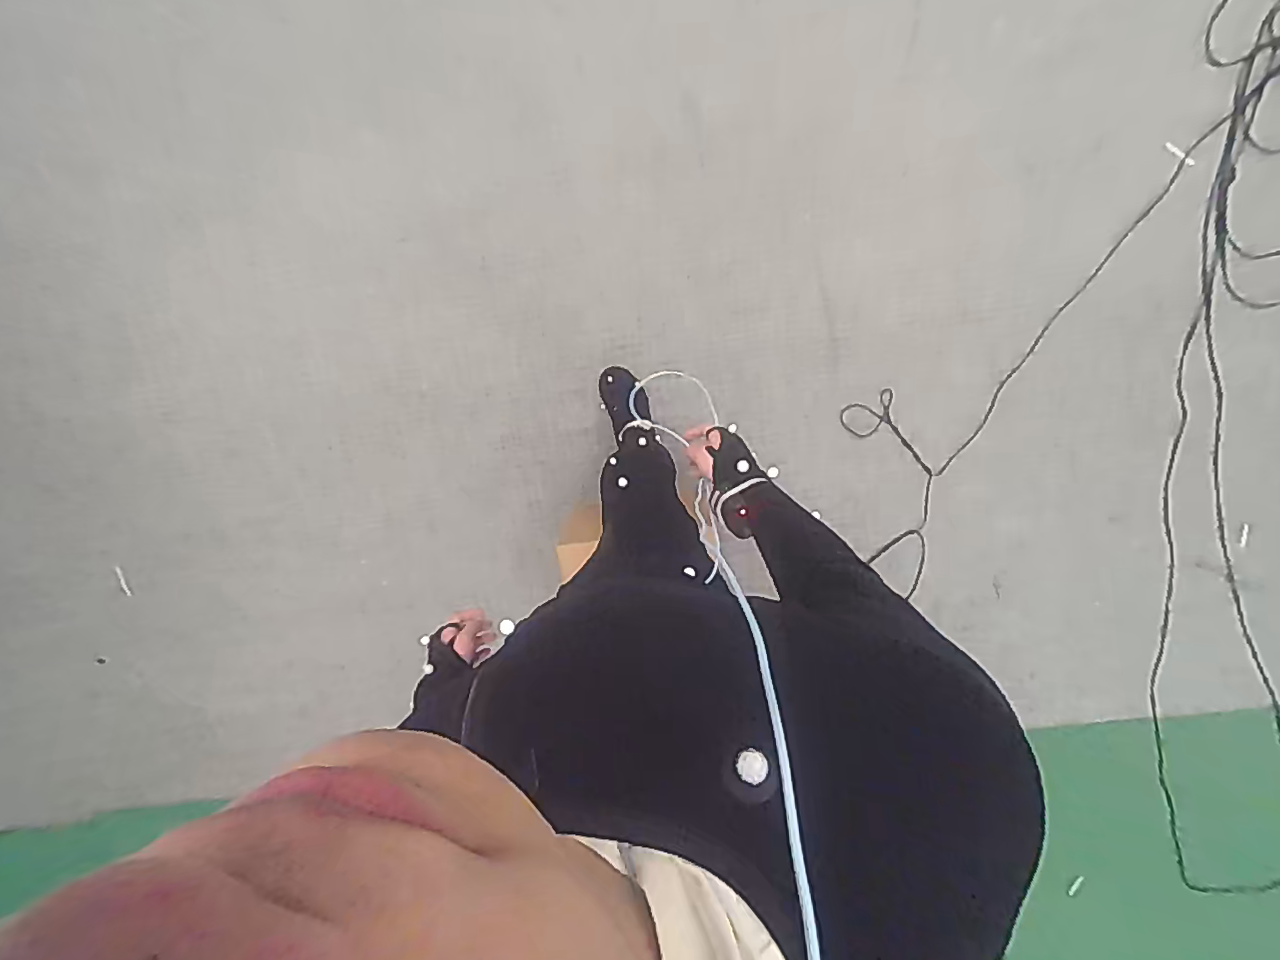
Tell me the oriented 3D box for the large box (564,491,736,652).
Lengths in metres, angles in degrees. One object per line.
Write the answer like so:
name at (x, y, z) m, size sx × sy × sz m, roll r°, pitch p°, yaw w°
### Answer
large box at (0.036, 0.242, 1.520) m, size 0.408 × 0.320 × 0.320 m, roll -9°, pitch 103°, yaw 5°
